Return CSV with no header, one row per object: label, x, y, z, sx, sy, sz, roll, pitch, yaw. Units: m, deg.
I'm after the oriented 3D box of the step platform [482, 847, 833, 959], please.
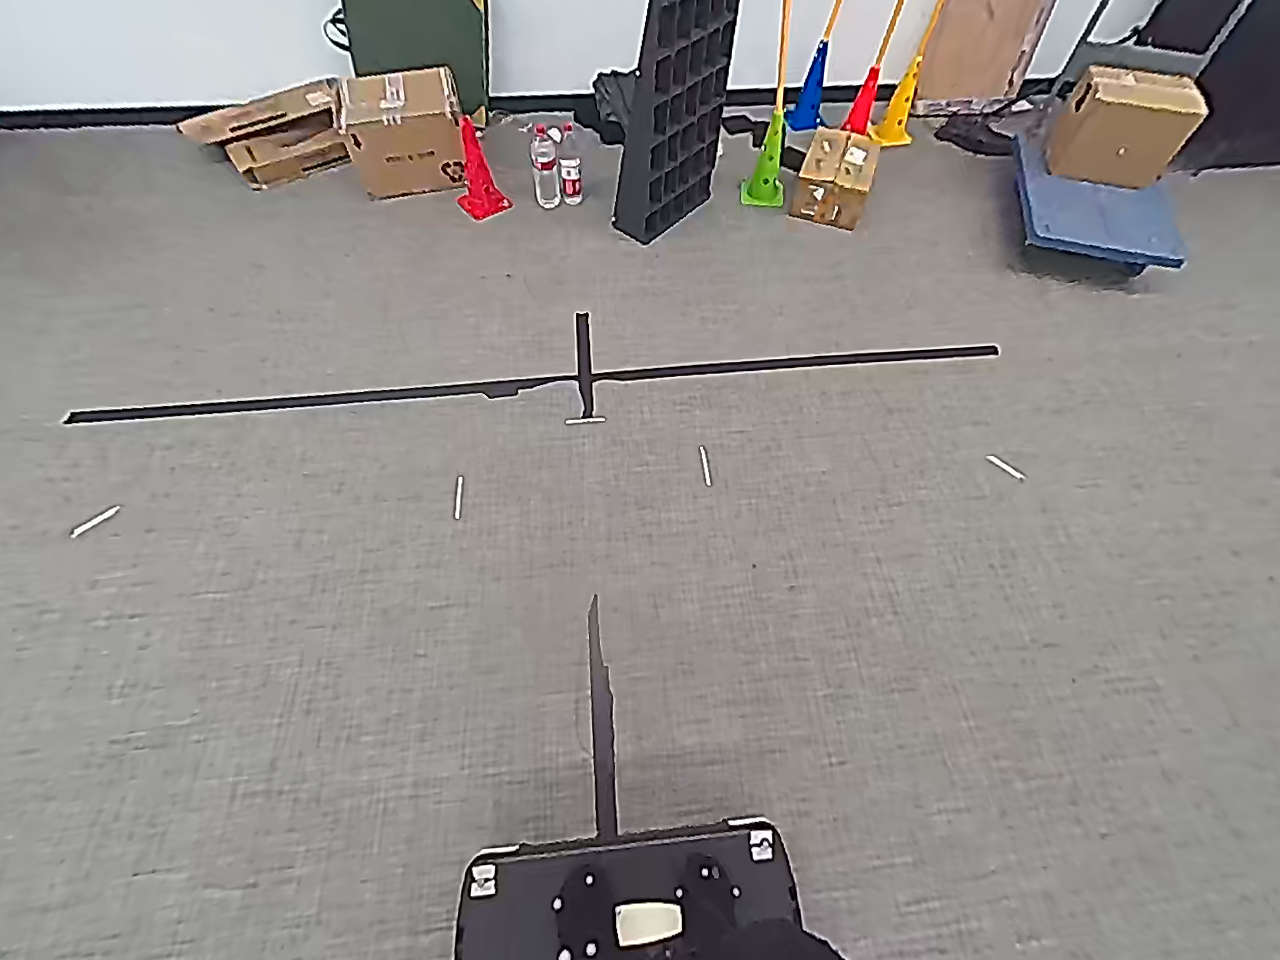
step platform,0.033,0.925,1.094,0.684,0.204,0.286,0,58,-2
